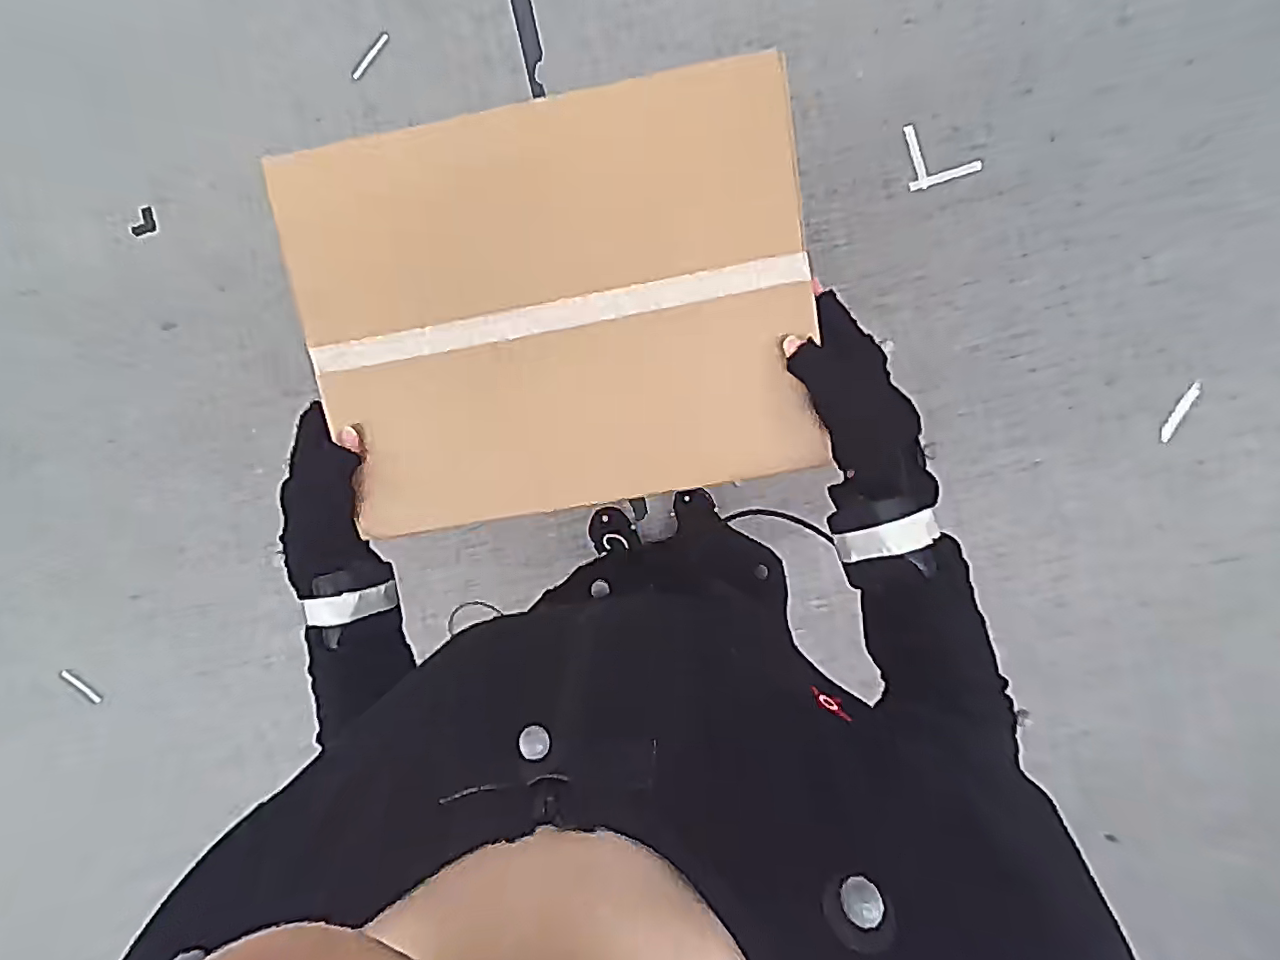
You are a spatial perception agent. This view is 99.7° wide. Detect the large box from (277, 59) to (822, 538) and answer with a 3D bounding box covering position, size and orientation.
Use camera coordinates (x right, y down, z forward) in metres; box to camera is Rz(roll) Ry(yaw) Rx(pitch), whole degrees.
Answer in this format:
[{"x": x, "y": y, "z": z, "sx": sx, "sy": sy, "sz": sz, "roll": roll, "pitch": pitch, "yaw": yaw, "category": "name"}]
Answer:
[{"x": -0.061, "y": -0.156, "z": 0.585, "sx": 0.408, "sy": 0.320, "sz": 0.320, "roll": -10, "pitch": 98, "yaw": 5, "category": "large box"}]
